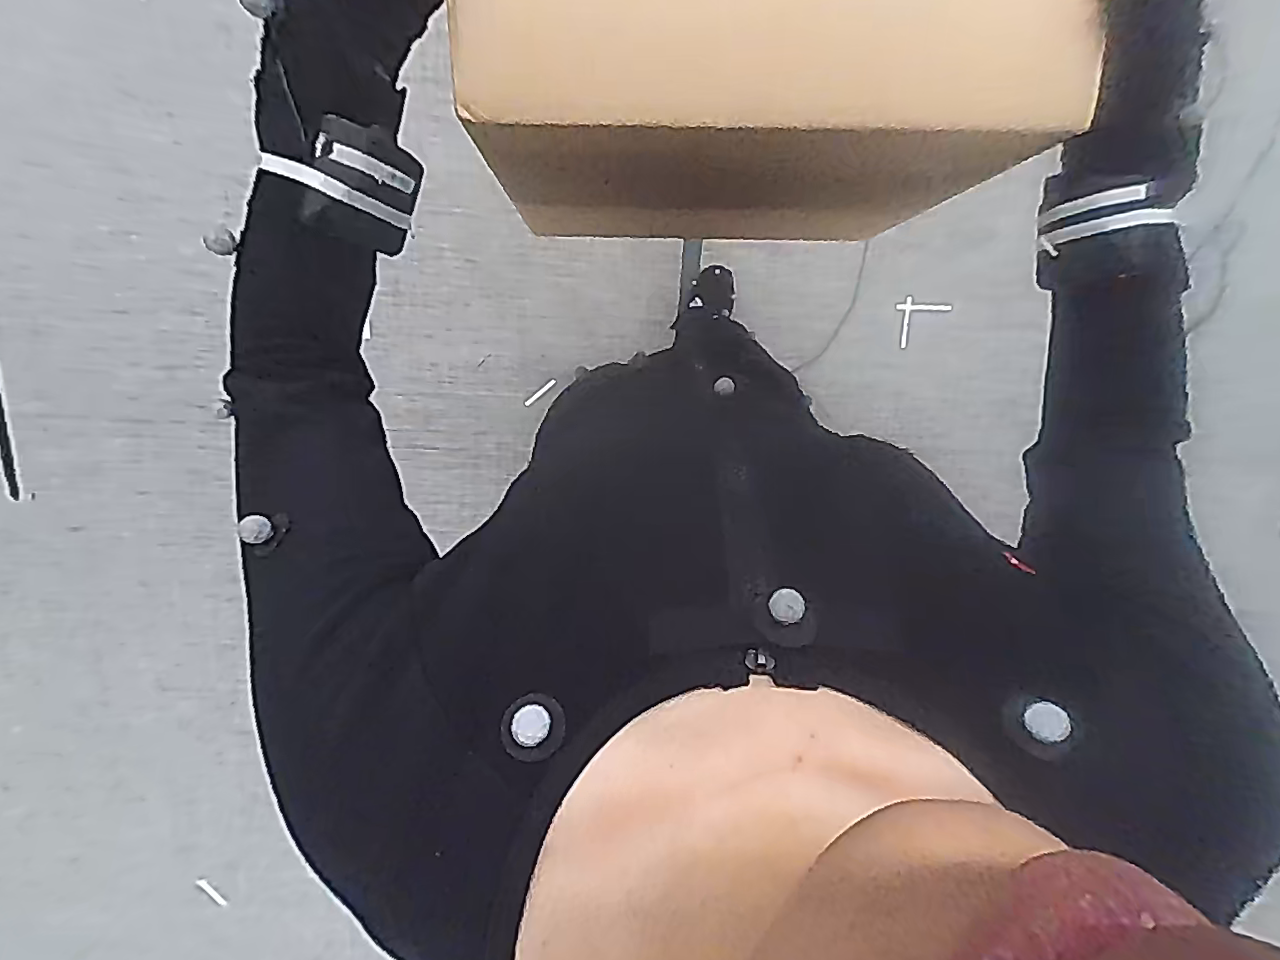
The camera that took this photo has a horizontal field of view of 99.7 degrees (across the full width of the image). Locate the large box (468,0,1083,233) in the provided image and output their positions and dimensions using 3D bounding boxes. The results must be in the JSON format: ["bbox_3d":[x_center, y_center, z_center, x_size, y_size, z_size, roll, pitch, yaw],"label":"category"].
[{"bbox_3d":[0.079,-0.417,0.471,0.408,0.320,0.320,-1,102,-3],"label":"large box"}]
